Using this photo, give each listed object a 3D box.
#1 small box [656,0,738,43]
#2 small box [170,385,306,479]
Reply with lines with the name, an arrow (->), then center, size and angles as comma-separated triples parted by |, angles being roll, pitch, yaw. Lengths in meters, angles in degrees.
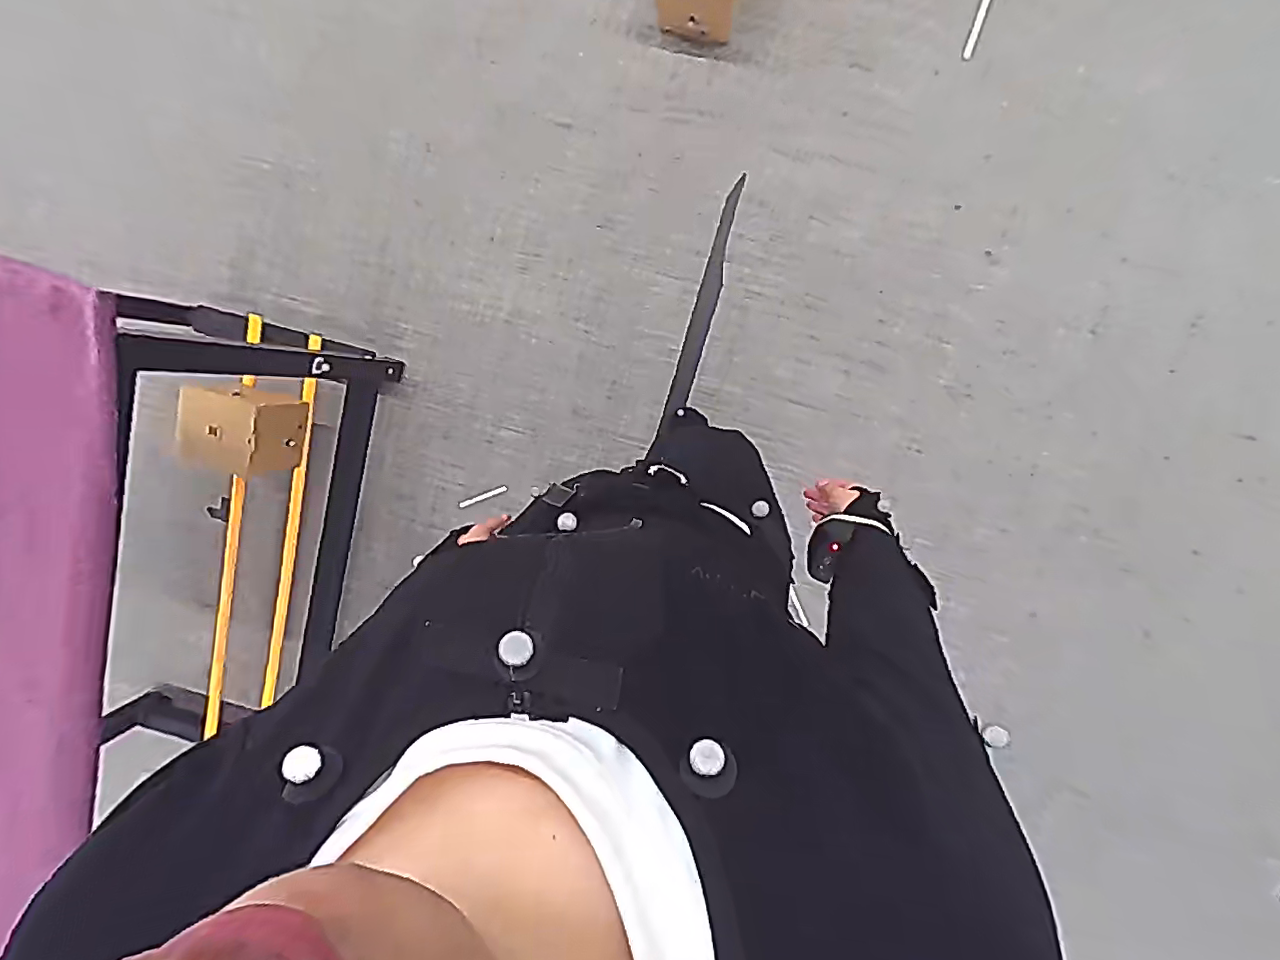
small box -> 0.127, -1.050, 1.100 | 0.168, 0.176, 0.179 | 15, 100, 3
small box -> -0.906, -0.112, 1.229 | 0.179, 0.176, 0.168 | 15, 101, 1
